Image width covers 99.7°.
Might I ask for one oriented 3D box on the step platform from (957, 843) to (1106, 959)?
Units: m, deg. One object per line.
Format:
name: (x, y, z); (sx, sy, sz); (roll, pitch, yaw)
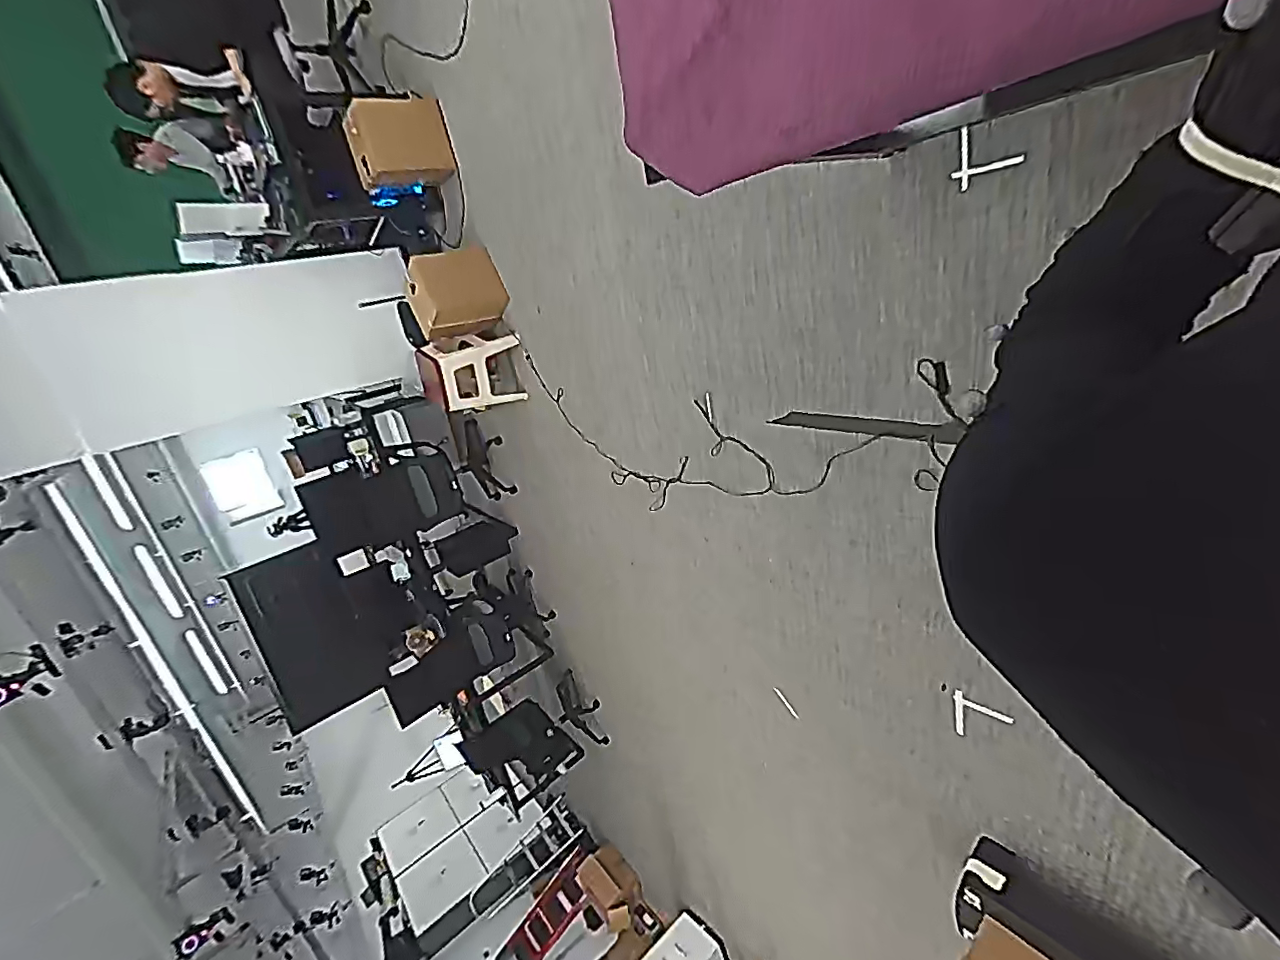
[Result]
step platform: (1.299, 1.410, 1.548); (0.684, 0.204, 0.286); (14, 123, 49)
